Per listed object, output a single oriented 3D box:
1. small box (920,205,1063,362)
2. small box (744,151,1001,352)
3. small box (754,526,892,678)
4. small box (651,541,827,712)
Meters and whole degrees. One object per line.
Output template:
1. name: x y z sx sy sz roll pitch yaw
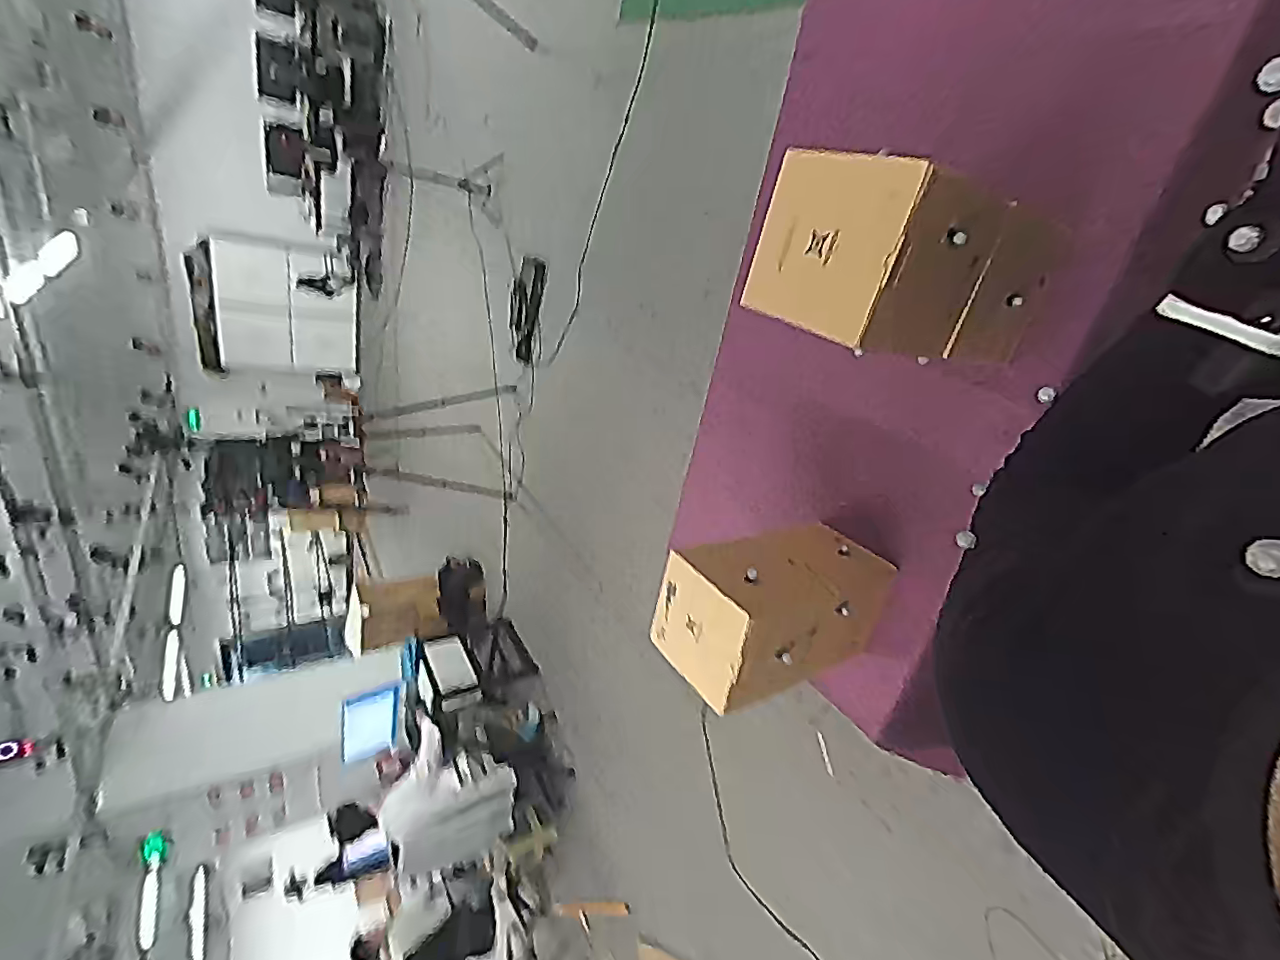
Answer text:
1. small box: 0.392 -0.256 0.697 0.179 0.176 0.168 41 125 46
2. small box: 0.256 -0.249 0.607 0.179 0.176 0.168 43 127 45
3. small box: 0.284 0.192 0.900 0.168 0.176 0.179 37 122 48
4. small box: 0.146 0.203 0.810 0.179 0.176 0.168 36 121 47
